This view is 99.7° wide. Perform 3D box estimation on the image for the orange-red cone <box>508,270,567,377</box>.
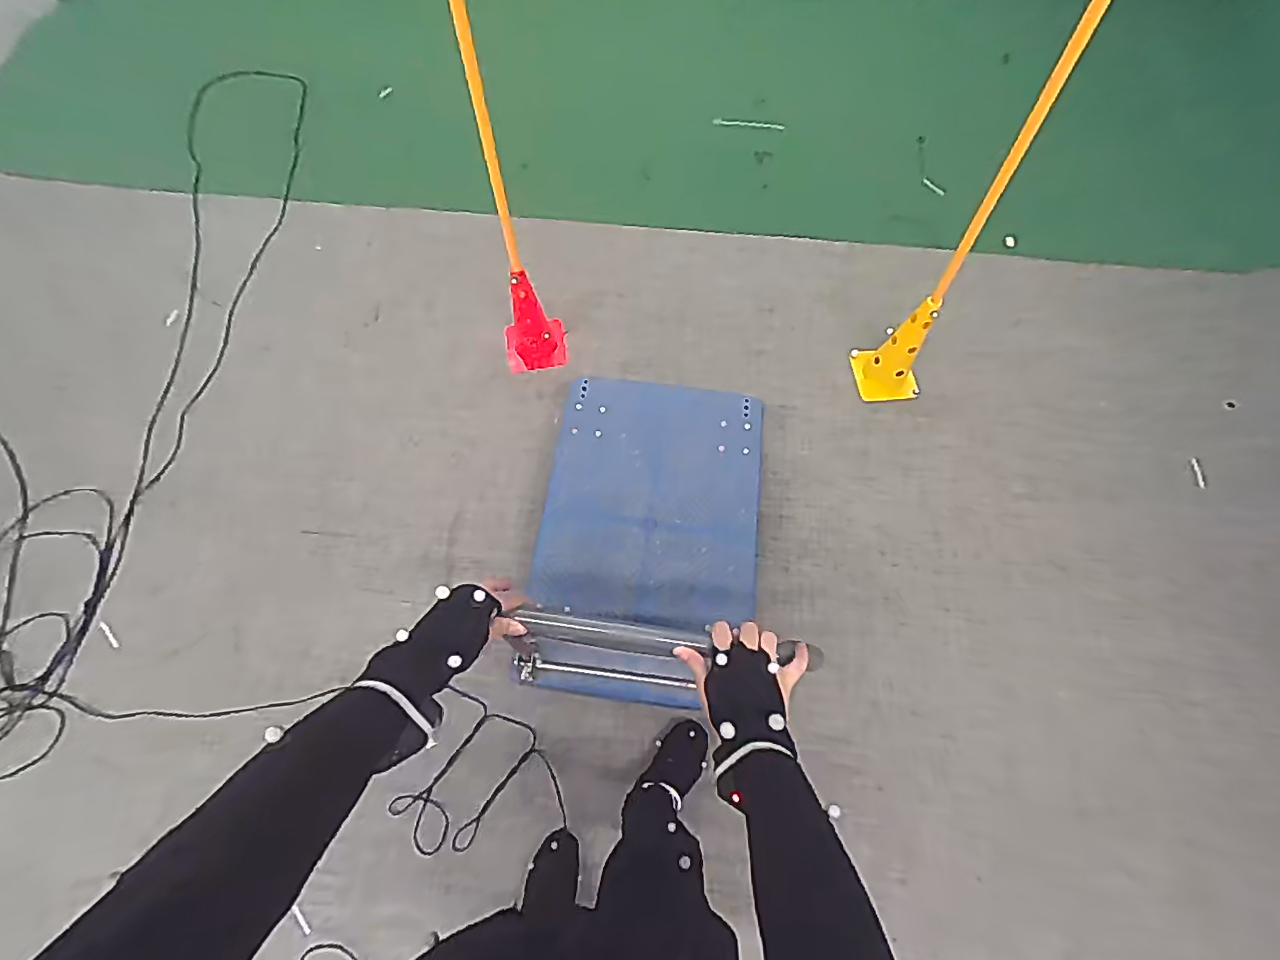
[{"bbox_3d":[-0.356,-0.514,1.704,0.199,0.360,0.198,-9,66,-3],"label":"orange-red cone"}]
